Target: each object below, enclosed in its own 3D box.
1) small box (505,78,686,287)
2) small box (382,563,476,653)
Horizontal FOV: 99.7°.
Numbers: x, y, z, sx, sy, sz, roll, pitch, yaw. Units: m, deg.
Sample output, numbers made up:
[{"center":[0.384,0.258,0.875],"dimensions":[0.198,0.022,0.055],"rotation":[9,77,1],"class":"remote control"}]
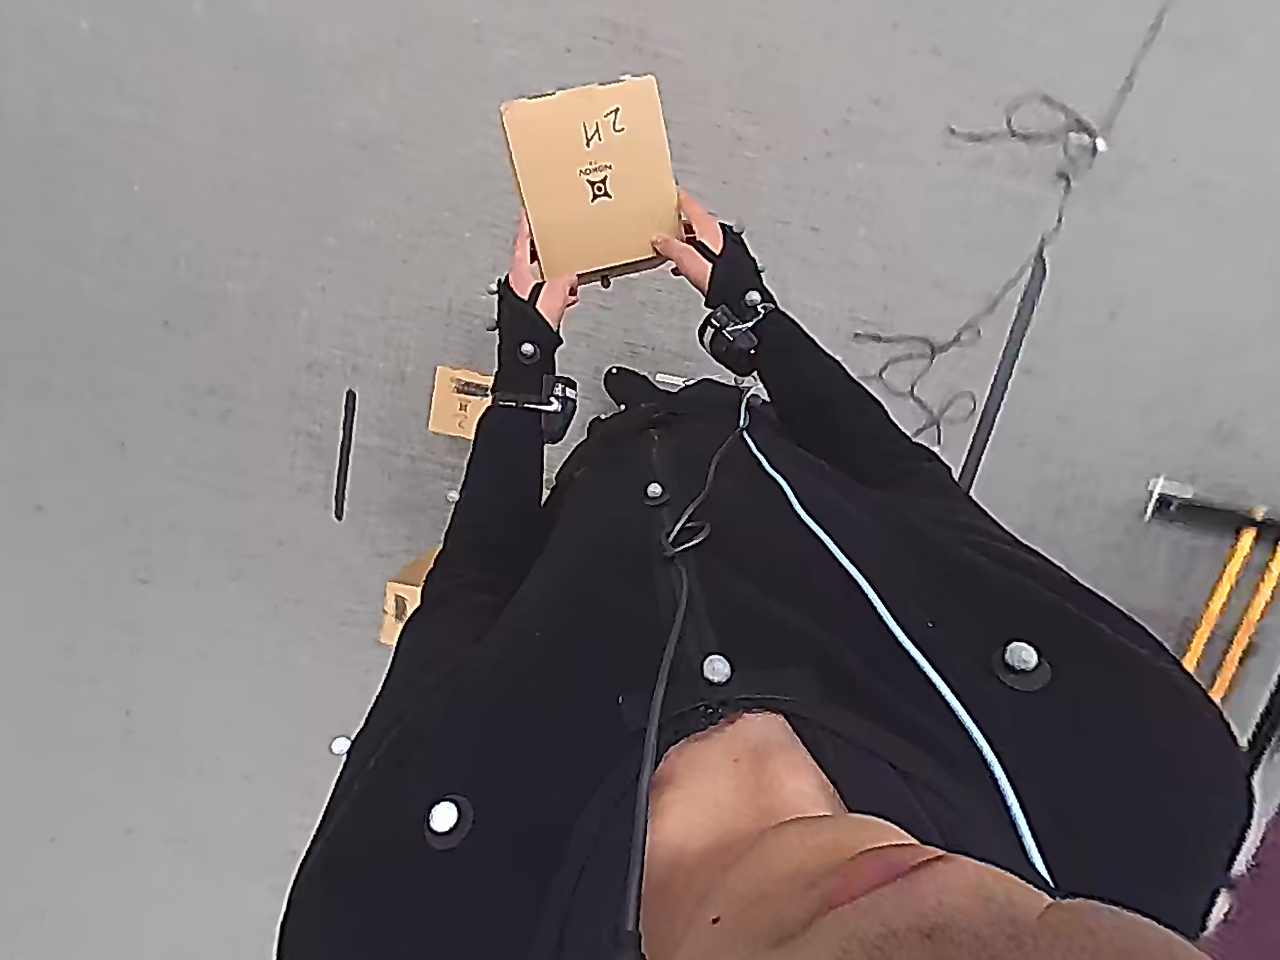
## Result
[{"center":[-0.054,-0.336,0.648],"dimensions":[0.168,0.176,0.179],"rotation":[-14,107,-7],"class":"small box"},{"center":[-0.549,0.329,1.420],"dimensions":[0.179,0.176,0.168],"rotation":[11,101,-5],"class":"small box"}]
